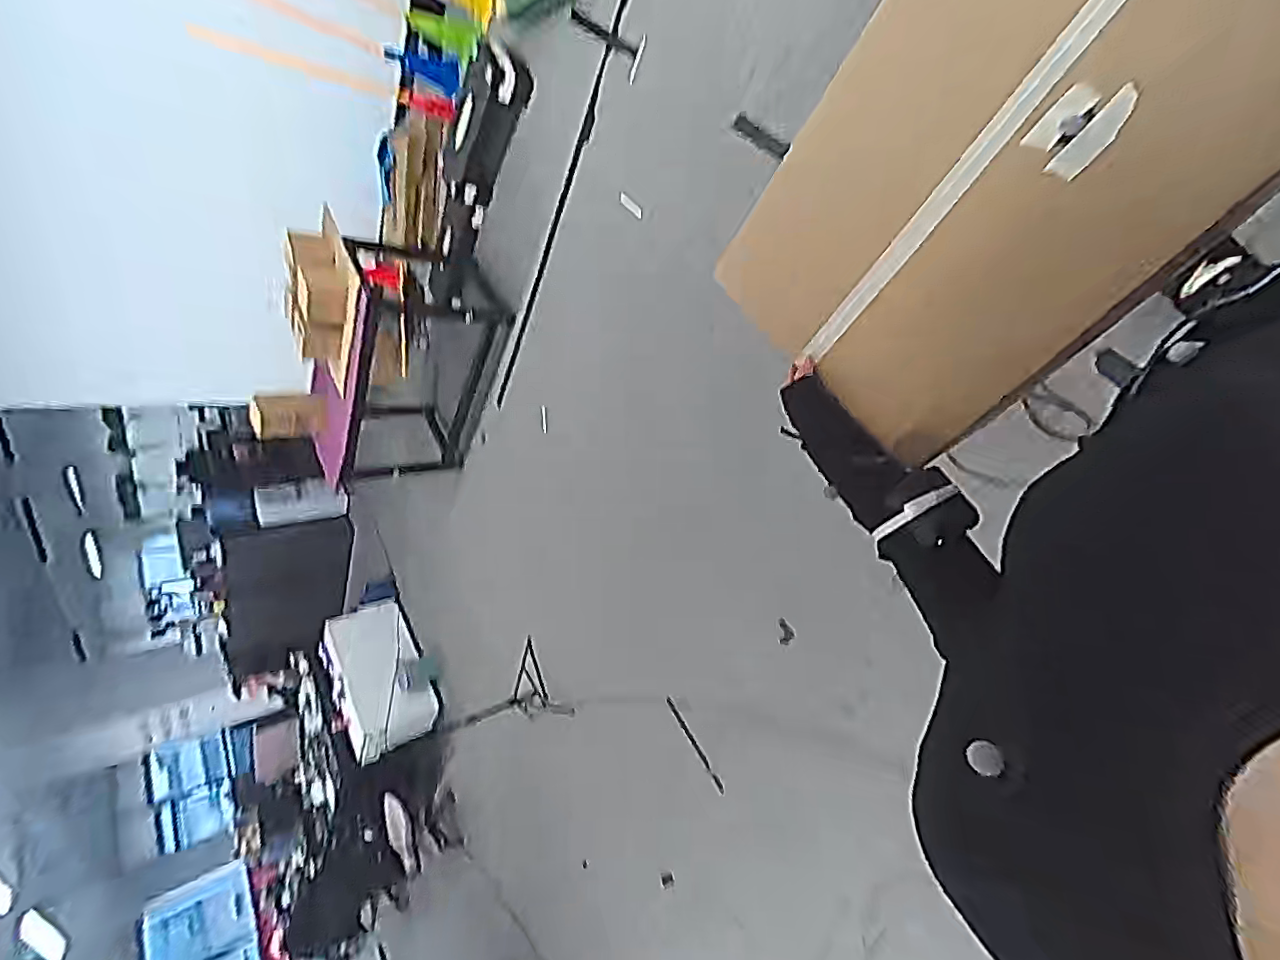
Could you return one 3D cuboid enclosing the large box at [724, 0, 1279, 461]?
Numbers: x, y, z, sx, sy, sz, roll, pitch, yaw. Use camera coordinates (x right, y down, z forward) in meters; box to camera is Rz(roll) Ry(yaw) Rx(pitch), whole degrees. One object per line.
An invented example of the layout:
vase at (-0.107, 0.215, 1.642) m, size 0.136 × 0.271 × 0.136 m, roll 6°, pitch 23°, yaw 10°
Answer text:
large box at (0.371, -0.282, 0.569) m, size 0.320 × 0.320 × 0.408 m, roll 52°, pitch 130°, yaw 19°
